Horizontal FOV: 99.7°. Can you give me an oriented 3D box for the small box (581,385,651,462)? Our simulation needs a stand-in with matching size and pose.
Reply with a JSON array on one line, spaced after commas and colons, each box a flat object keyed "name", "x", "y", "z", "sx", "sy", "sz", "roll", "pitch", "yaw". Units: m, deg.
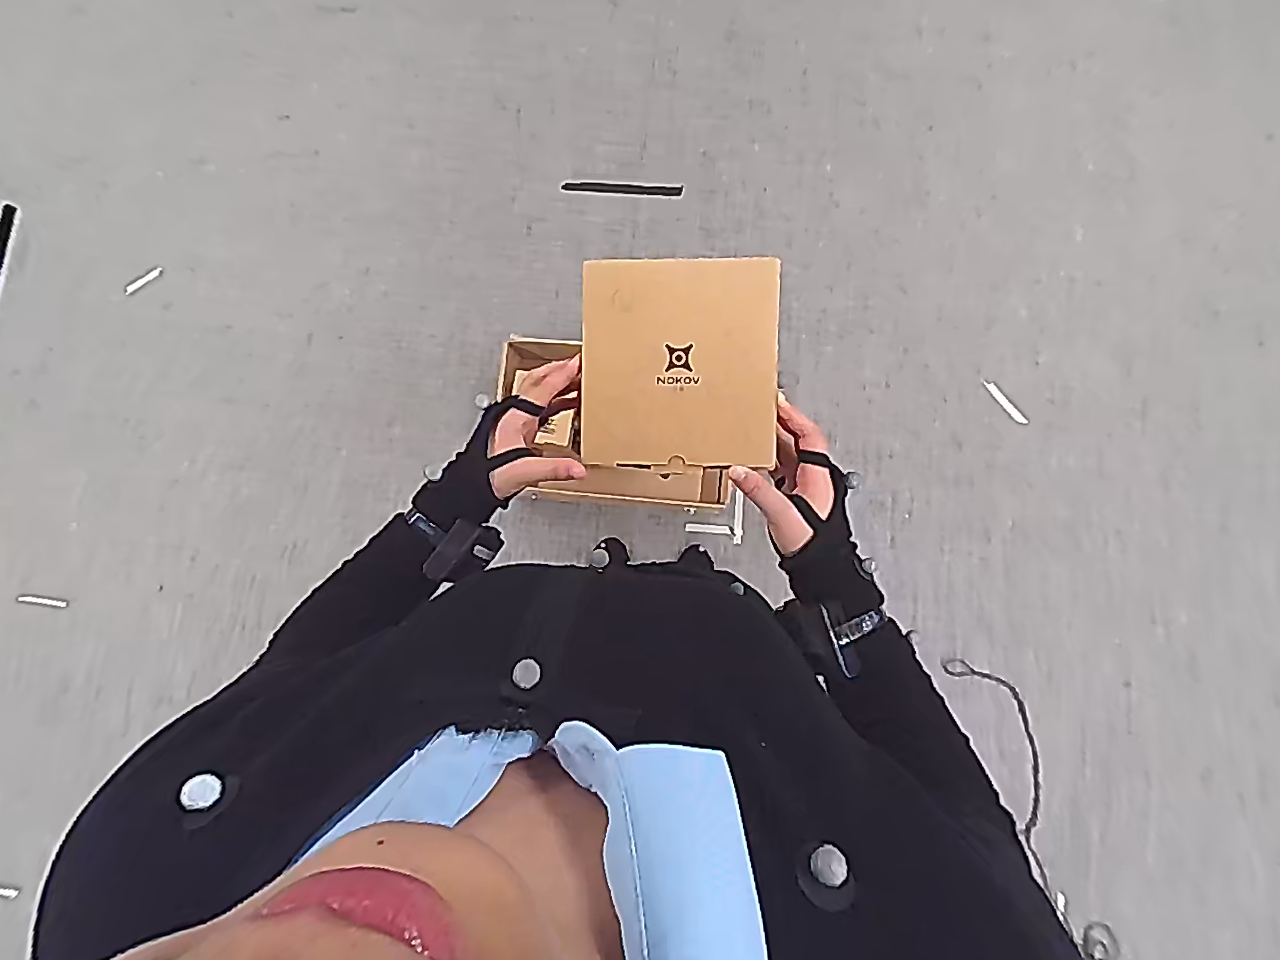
[{"name": "small box", "x": -0.057, "y": -0.141, "z": 1.419, "sx": 0.168, "sy": 0.176, "sz": 0.179, "roll": 2, "pitch": 84, "yaw": 3}]
